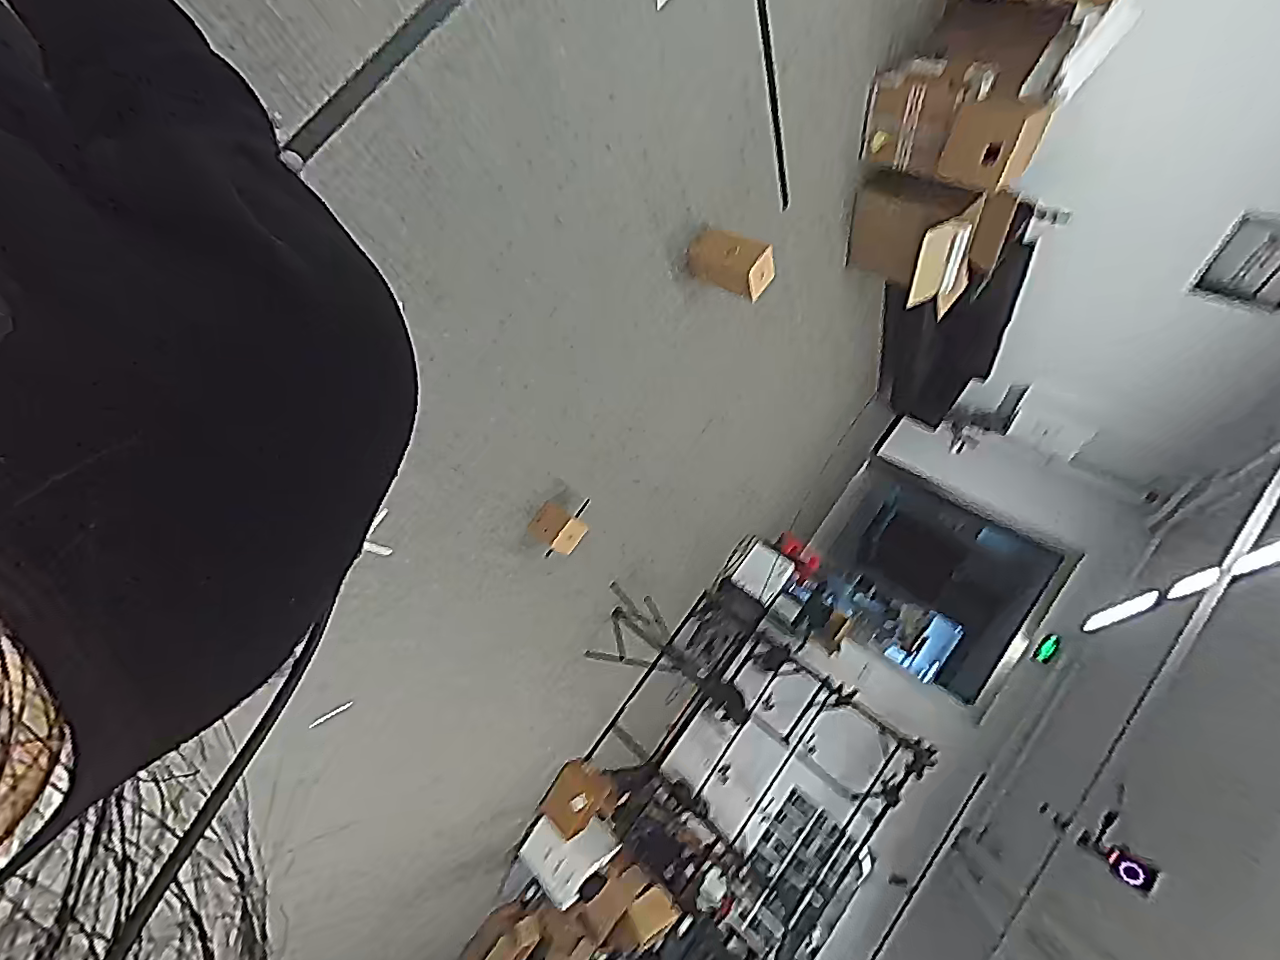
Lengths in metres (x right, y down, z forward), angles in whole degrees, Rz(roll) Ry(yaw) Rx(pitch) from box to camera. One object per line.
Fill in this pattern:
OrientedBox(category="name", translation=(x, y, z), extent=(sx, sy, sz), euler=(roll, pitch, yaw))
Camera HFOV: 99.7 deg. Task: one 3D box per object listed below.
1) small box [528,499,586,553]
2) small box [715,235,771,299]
OrientedBox(category="small box", translation=(-0.392, 0.212, 2.532), extent=(0.168, 0.176, 0.179), euler=(-54, 152, -4))
OrientedBox(category="small box", translation=(0.445, -0.922, 2.333), extent=(0.168, 0.176, 0.179), euler=(-52, 150, -10))
